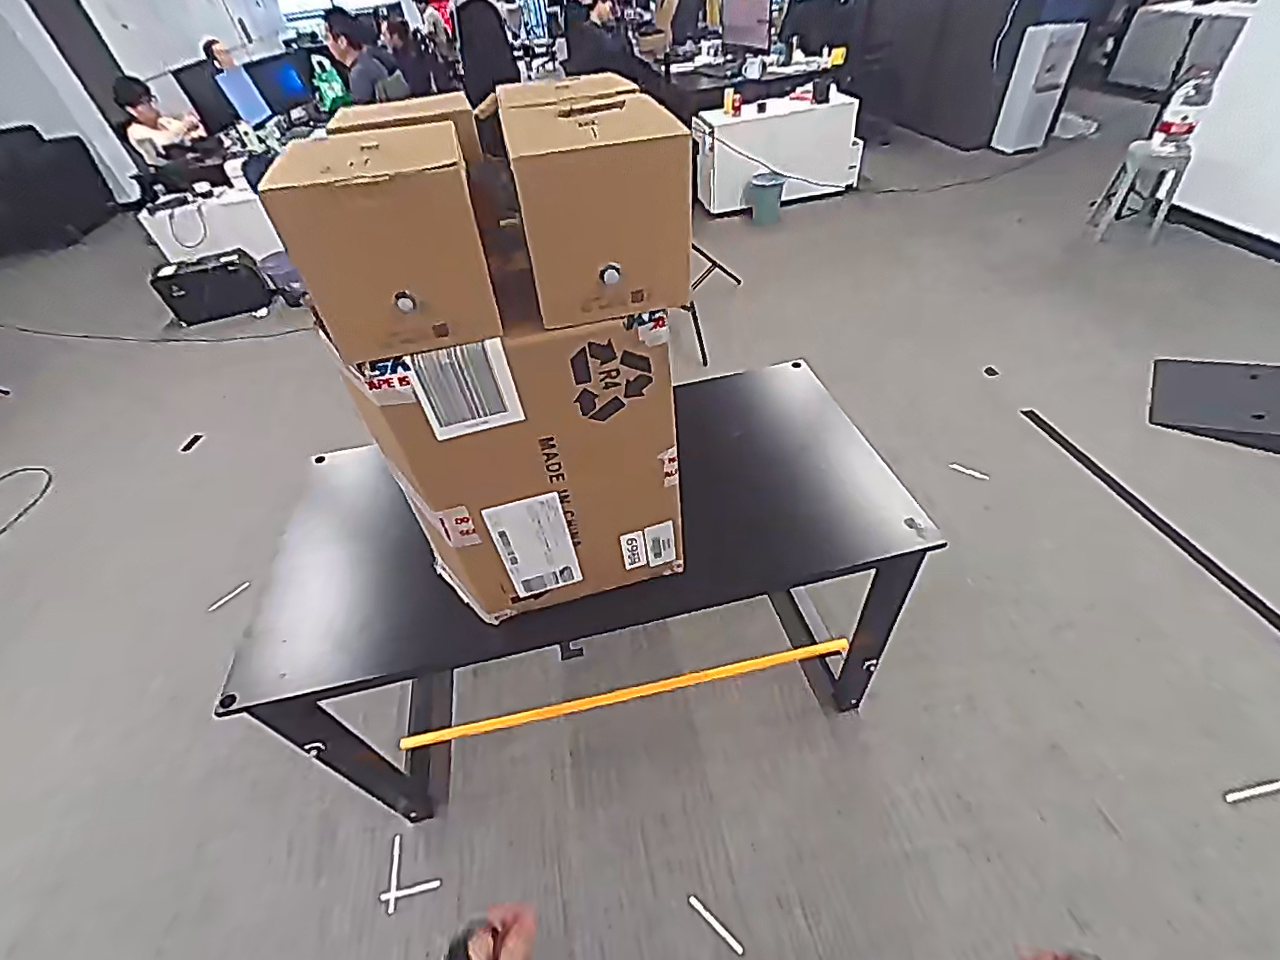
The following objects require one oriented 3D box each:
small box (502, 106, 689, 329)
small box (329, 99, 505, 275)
[{"bbox_3d":[-0.049,-0.289,0.596,0.168,0.176,0.179,-12,46,-6],"label":"small box"},{"bbox_3d":[-0.291,-0.399,0.735,0.168,0.176,0.179,-16,43,-10],"label":"small box"}]
